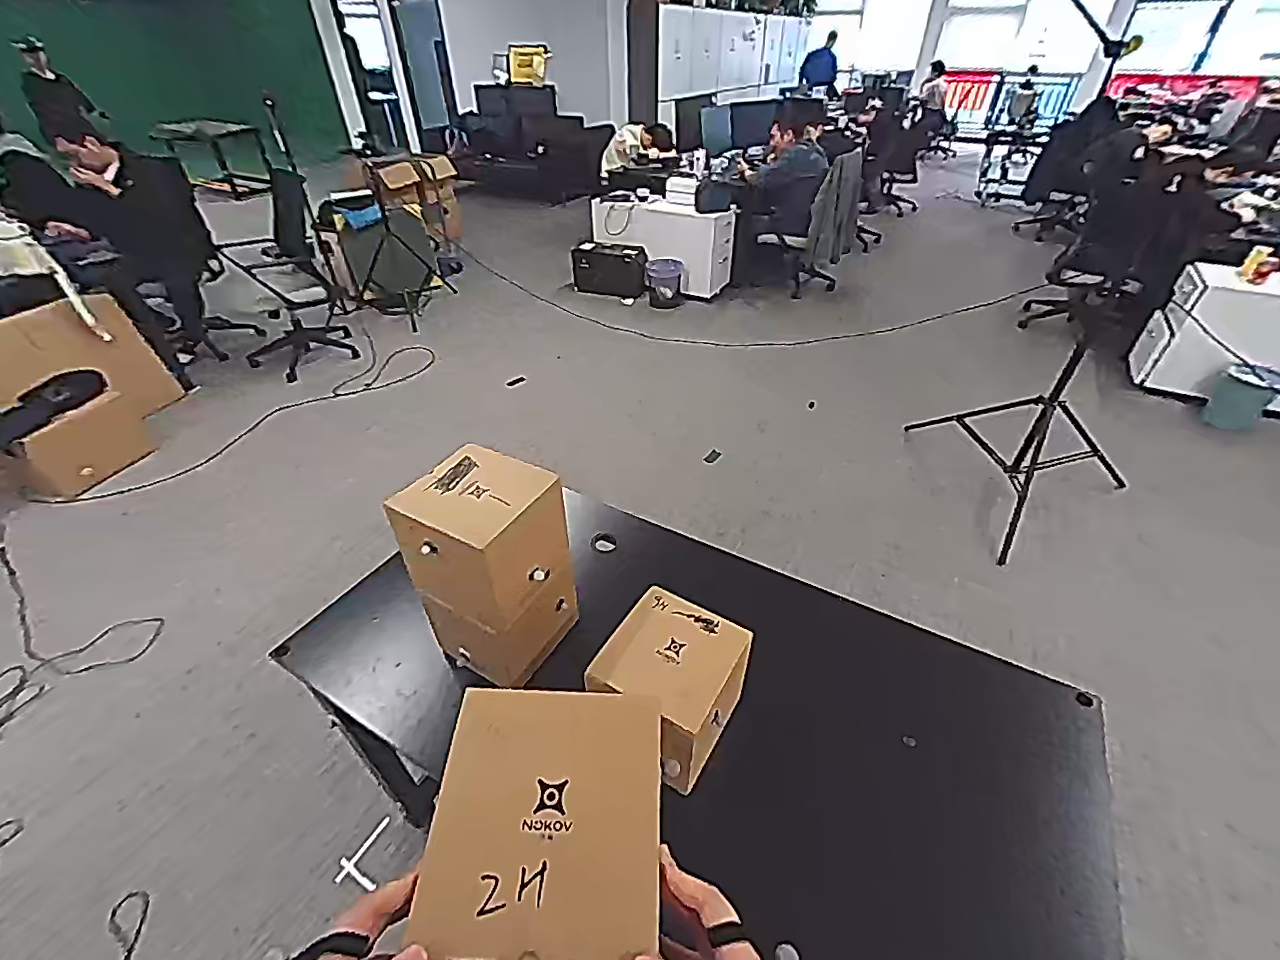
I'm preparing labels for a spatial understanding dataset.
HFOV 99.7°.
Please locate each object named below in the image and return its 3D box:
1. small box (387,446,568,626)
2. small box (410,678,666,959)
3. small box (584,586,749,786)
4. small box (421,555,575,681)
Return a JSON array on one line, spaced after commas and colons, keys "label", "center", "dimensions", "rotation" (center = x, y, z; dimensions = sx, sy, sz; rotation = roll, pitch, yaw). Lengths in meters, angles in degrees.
[{"label": "small box", "center": [-0.223, 0.080, 0.784], "dimensions": [0.179, 0.176, 0.168], "rotation": [19, 43, 22]}, {"label": "small box", "center": [-0.065, 0.290, 0.459], "dimensions": [0.168, 0.176, 0.179], "rotation": [2, 47, 1]}, {"label": "small box", "center": [0.042, 0.294, 0.776], "dimensions": [0.168, 0.176, 0.179], "rotation": [21, 44, 24]}, {"label": "small box", "center": [-0.221, 0.208, 0.889], "dimensions": [0.168, 0.176, 0.179], "rotation": [19, 43, 24]}]
